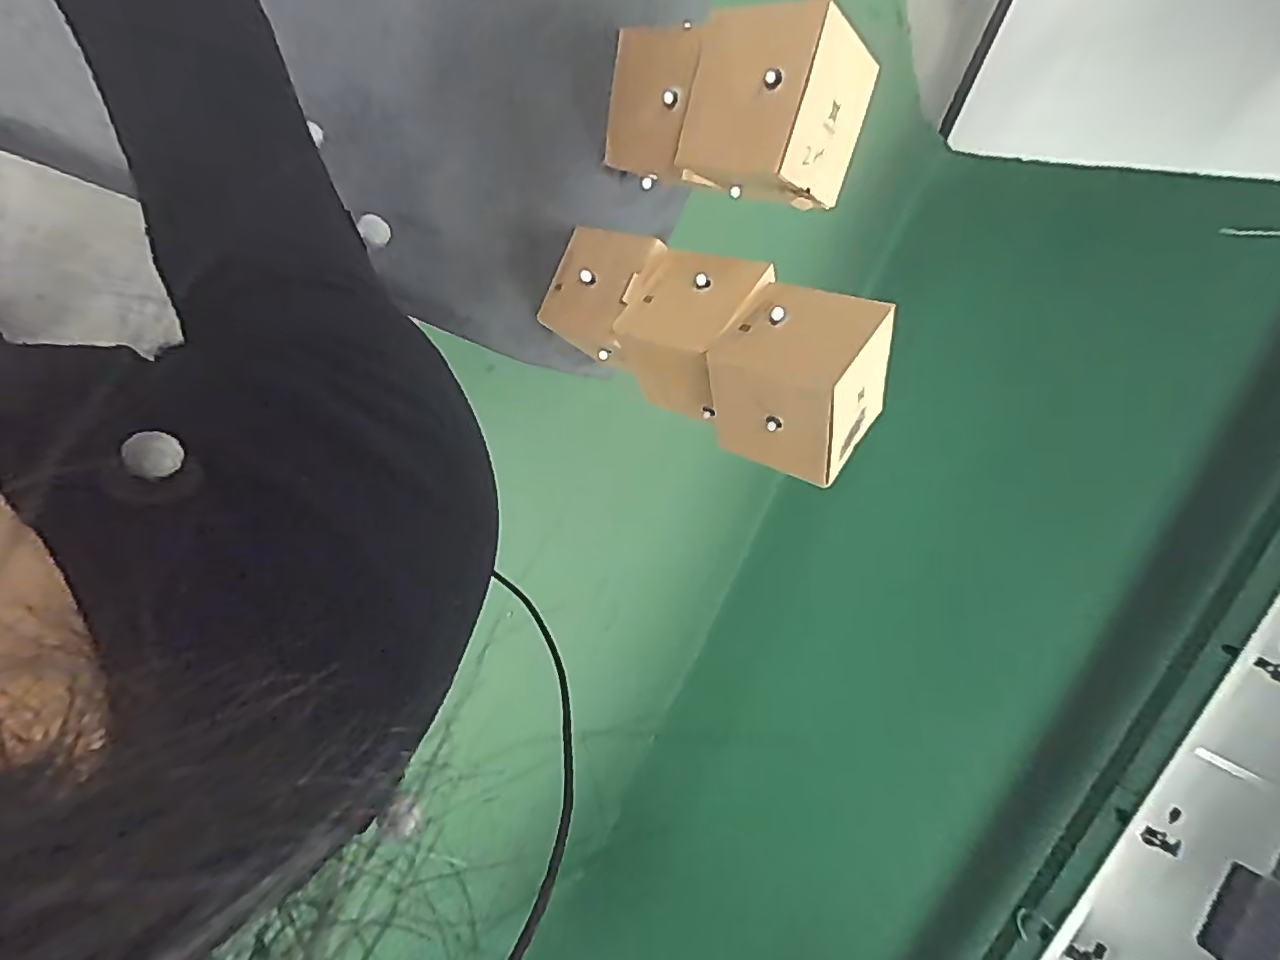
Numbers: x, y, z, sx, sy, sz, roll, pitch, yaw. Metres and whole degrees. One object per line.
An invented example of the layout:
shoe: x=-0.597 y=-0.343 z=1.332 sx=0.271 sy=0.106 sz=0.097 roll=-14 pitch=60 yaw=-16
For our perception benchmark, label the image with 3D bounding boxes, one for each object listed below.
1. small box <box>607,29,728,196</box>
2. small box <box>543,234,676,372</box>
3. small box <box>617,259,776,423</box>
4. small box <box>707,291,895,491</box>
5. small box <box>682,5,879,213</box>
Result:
small box: x=0.070 y=-0.547 z=0.820 sx=0.168 sy=0.176 sz=0.179 roll=-18 pitch=130 yaw=-44
small box: x=-0.027 y=-0.280 z=0.884 sx=0.179 sy=0.176 sz=0.168 roll=21 pitch=94 yaw=-57
small box: x=0.092 y=-0.204 z=0.801 sx=0.168 sy=0.176 sz=0.179 roll=-54 pitch=147 yaw=-16
small box: x=0.207 y=-0.122 z=0.714 sx=0.168 sy=0.176 sz=0.179 roll=-48 pitch=144 yaw=-24
small box: x=0.179 y=-0.479 z=0.716 sx=0.168 sy=0.176 sz=0.179 roll=-10 pitch=123 yaw=-48
